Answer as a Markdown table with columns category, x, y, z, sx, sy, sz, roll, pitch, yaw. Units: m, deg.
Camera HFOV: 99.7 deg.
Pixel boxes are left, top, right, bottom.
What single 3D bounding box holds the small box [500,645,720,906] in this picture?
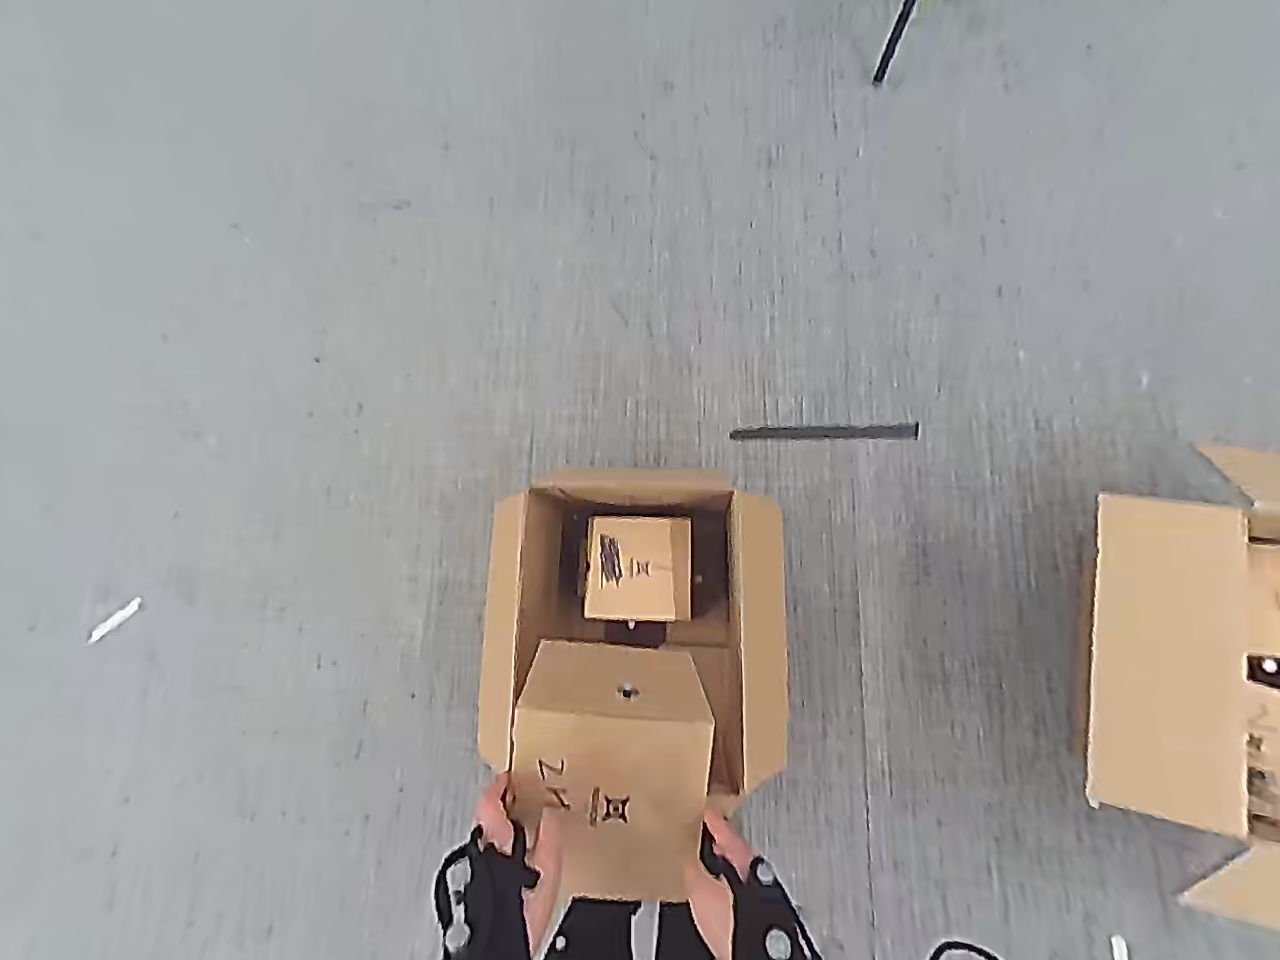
| category | x | y | z | sx | sy | sz | roll | pitch | yaw |
| --- | --- | --- | --- | --- | --- | --- | --- | --- | --- |
| small box | -0.029 | 0.278 | 0.543 | 0.179 | 0.176 | 0.168 | 6 | 92 | -2 |
